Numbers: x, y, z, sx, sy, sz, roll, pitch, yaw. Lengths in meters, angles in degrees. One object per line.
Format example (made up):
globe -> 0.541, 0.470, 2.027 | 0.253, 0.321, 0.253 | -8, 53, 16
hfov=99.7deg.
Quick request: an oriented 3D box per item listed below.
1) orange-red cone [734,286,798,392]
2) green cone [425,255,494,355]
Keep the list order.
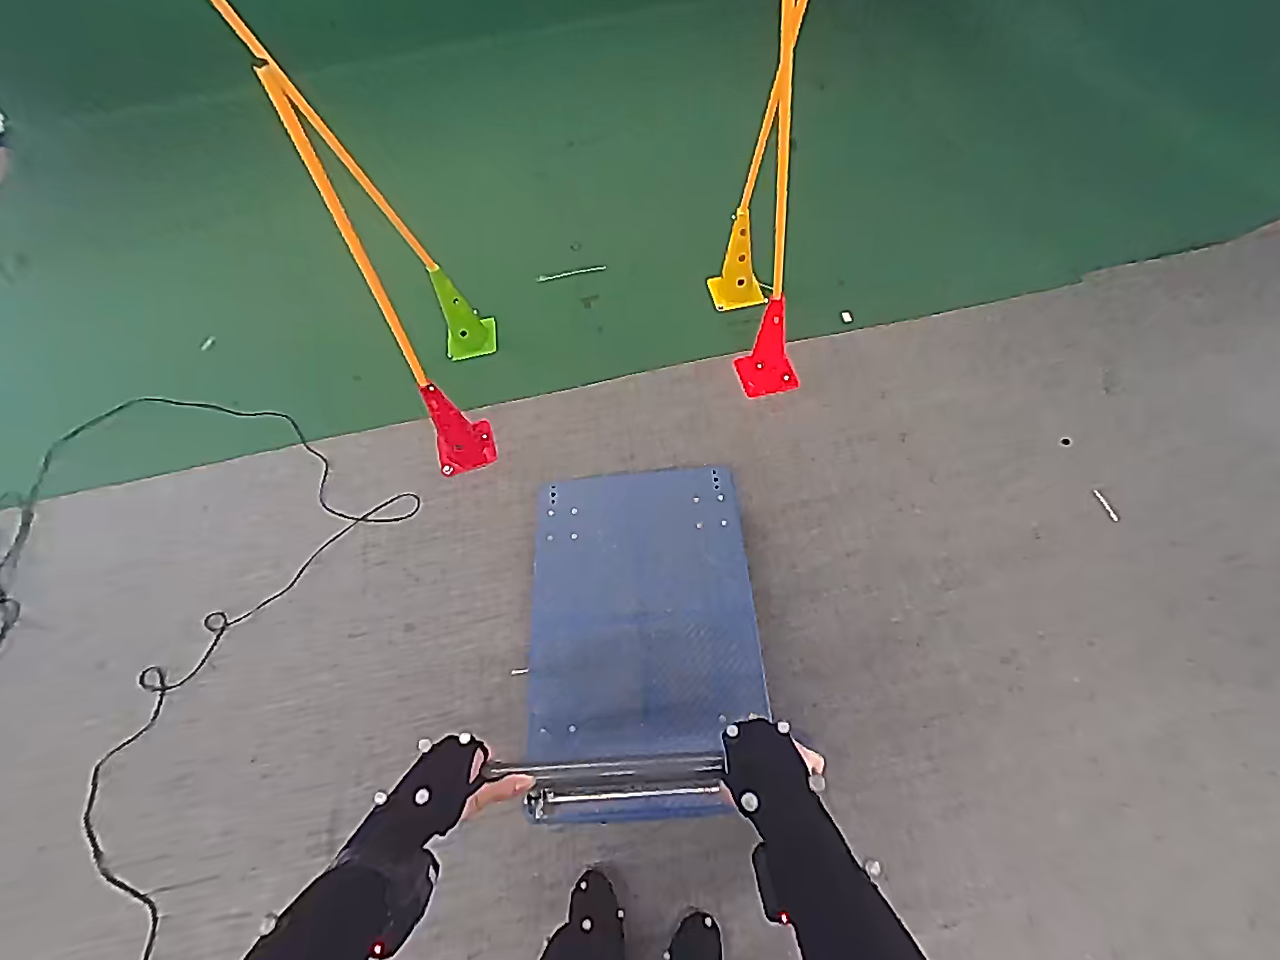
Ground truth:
orange-red cone -> 0.440, -0.495, 1.819 | 0.198, 0.360, 0.199 | -11, 57, -1
green cone -> -0.712, -0.681, 2.050 | 0.200, 0.368, 0.202 | -12, 58, 0
